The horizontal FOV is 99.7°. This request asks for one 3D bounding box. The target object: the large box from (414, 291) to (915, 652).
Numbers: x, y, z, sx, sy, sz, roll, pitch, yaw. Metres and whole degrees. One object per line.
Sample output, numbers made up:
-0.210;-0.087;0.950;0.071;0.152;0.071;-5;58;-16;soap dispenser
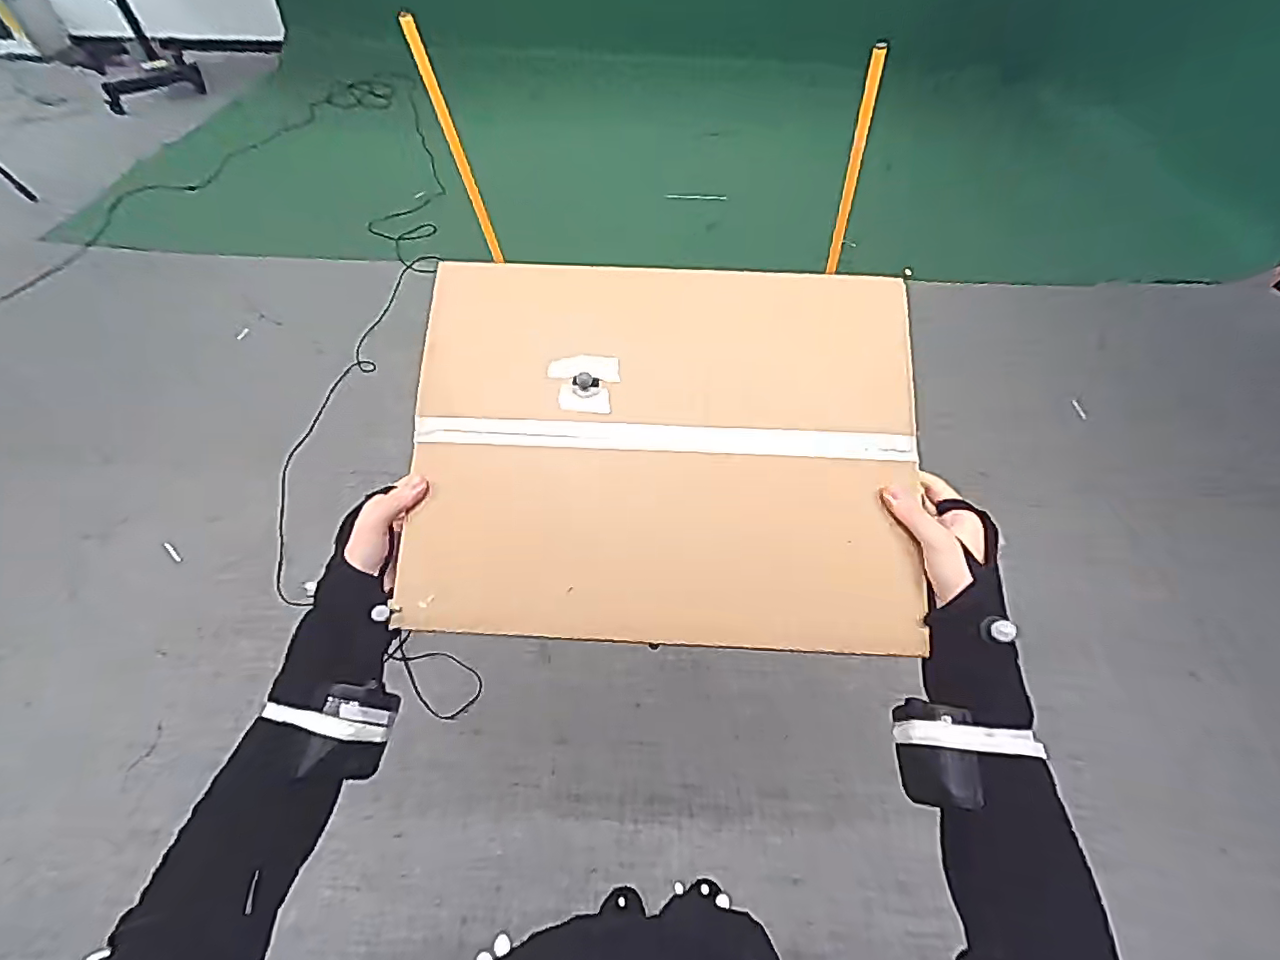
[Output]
0.027;0.011;0.602;0.408;0.320;0.320;2;76;3;large box
